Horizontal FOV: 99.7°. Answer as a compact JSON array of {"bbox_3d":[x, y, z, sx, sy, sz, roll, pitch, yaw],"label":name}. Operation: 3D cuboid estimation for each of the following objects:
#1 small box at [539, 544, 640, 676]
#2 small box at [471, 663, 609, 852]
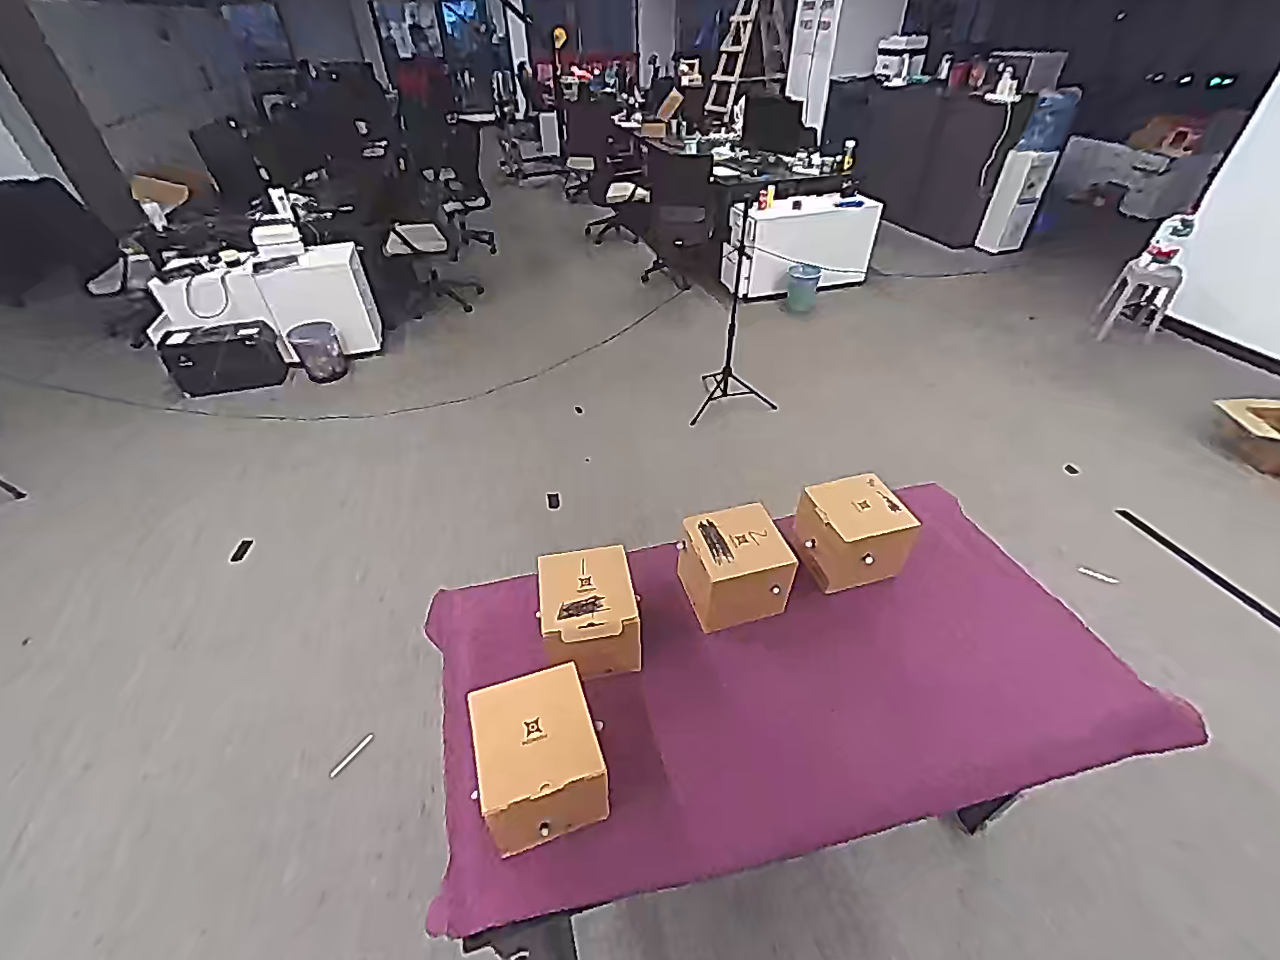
[{"bbox_3d":[-0.093,0.249,1.009,0.168,0.176,0.179,-7,41,-8],"label":"small box"},{"bbox_3d":[-0.150,0.414,0.814,0.168,0.176,0.179,-12,42,-16],"label":"small box"}]
